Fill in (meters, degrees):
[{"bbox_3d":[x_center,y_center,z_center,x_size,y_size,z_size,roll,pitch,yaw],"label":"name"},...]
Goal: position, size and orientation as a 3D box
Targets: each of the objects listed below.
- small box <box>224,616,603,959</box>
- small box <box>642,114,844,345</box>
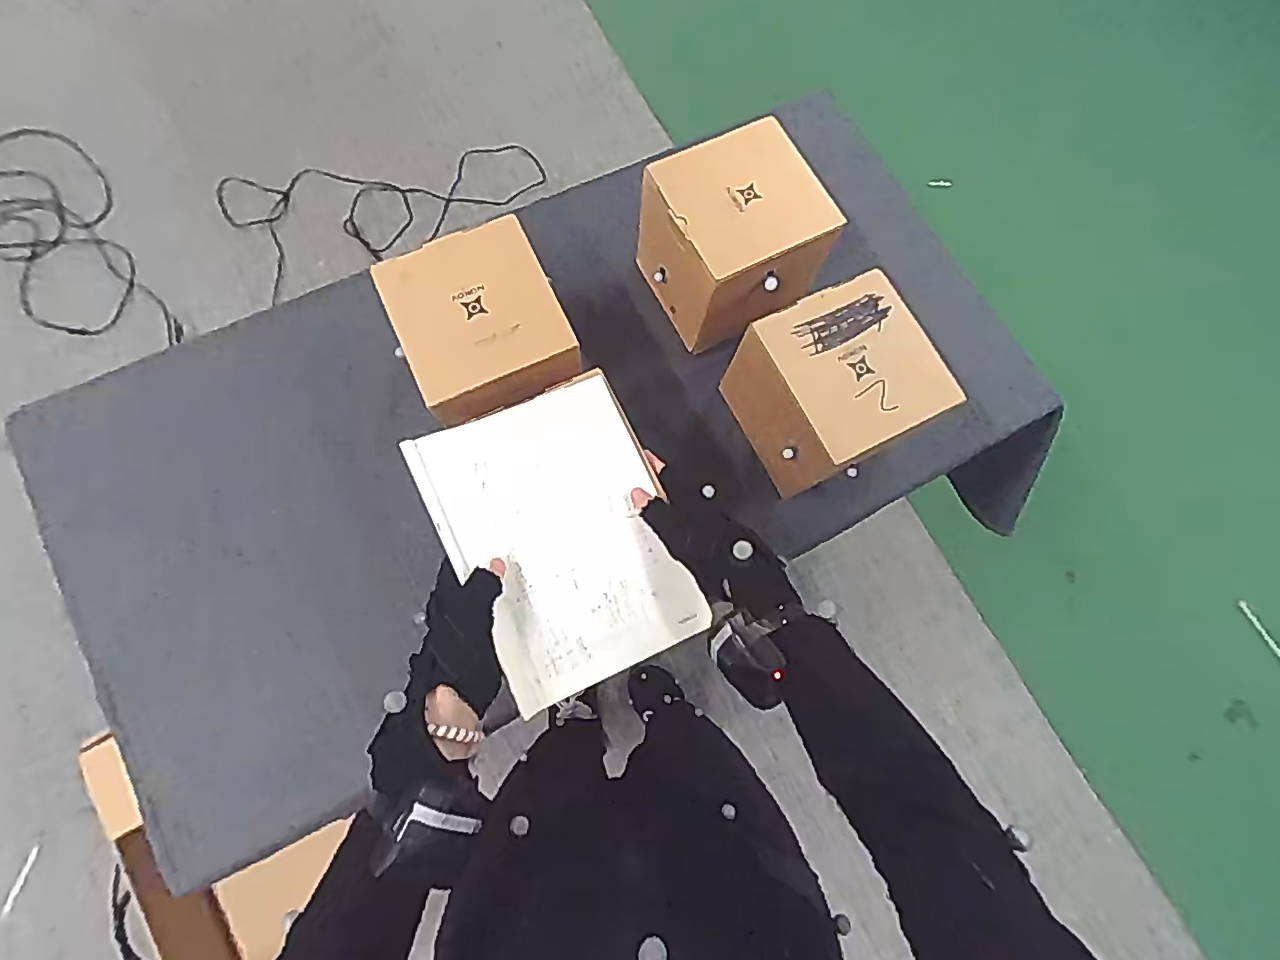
[{"bbox_3d":[-0.162,0.239,0.423,0.176,0.179,0.168,-23,106,27],"label":"small box"},{"bbox_3d":[0.114,-0.304,0.685,0.179,0.176,0.168,-27,79,-8],"label":"small box"}]
